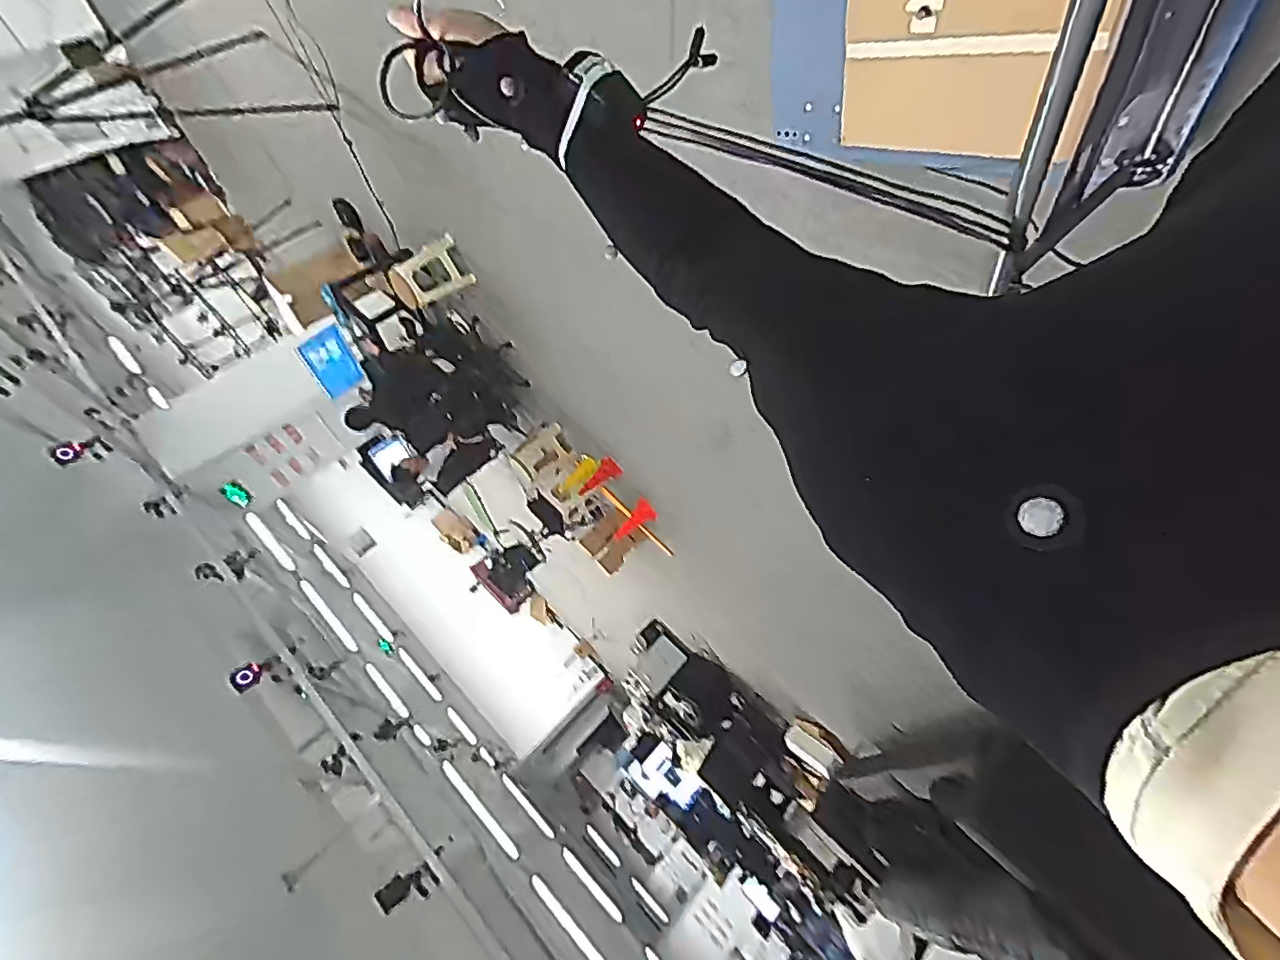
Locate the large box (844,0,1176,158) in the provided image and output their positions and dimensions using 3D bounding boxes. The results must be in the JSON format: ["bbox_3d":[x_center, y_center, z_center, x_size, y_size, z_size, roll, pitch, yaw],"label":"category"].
[{"bbox_3d":[0.615,-0.780,0.906,0.408,0.320,0.320,32,152,35],"label":"large box"}]
